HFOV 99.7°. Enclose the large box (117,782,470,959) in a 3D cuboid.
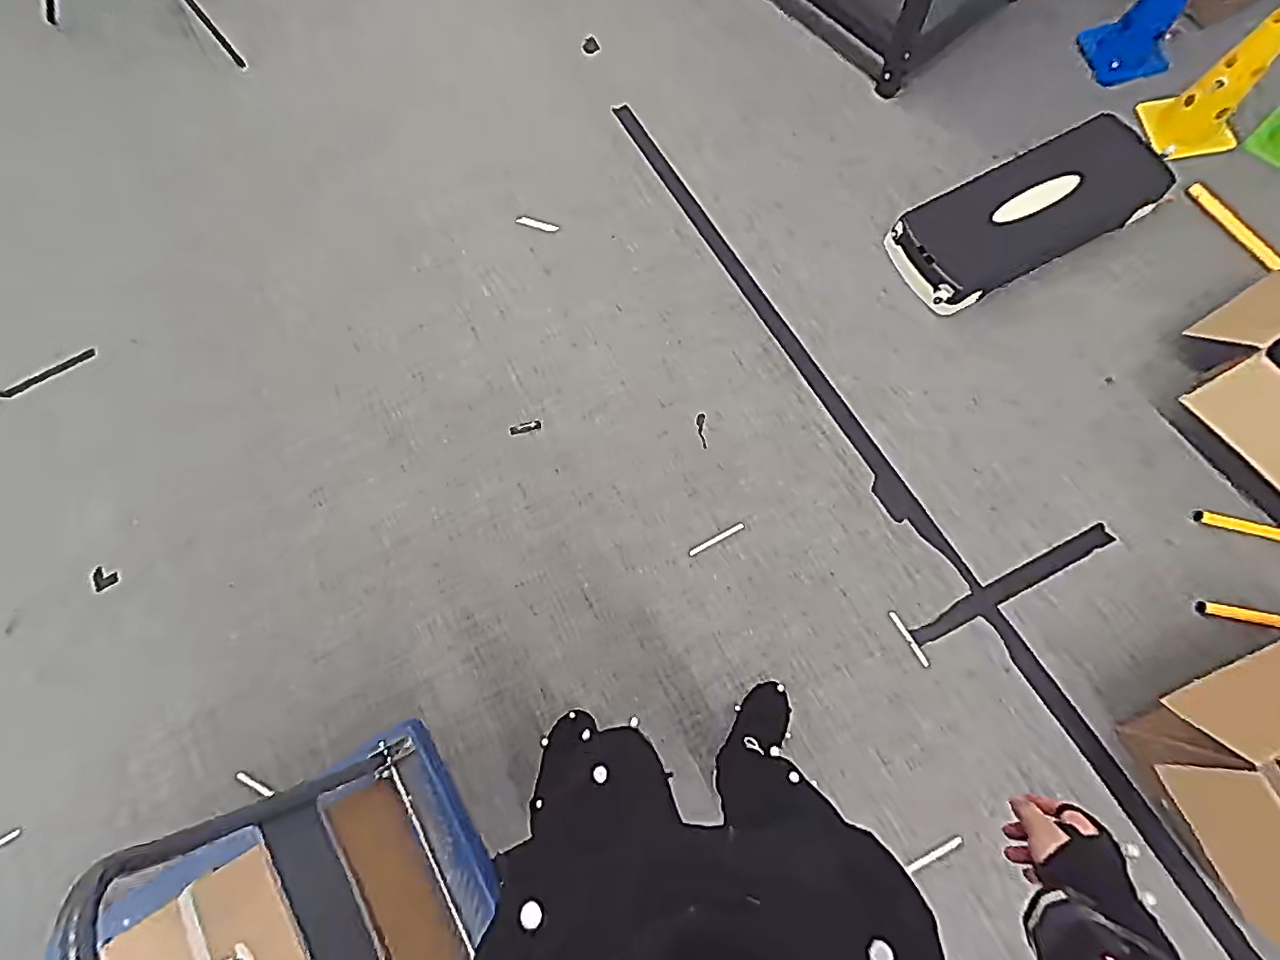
[{"bbox_3d":[-0.555,0.828,0.927,0.320,0.320,0.408,-33,74,-4],"label":"large box"}]
